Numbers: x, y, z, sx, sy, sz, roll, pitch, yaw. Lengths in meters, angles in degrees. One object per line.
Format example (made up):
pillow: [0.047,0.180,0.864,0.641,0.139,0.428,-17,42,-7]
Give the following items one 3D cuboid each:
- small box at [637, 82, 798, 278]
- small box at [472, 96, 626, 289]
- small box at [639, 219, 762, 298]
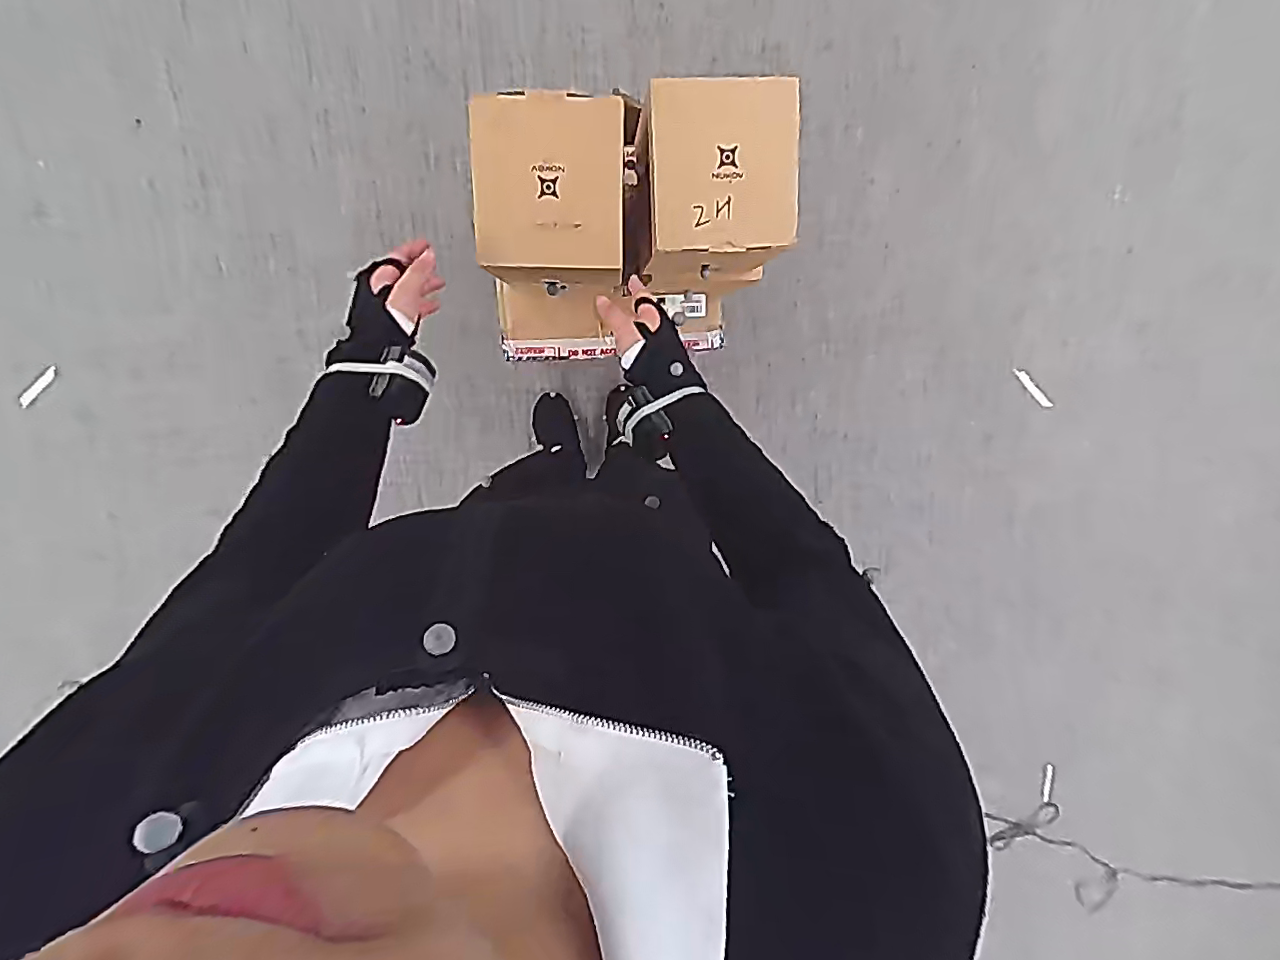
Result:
small box: [0.087,-0.360,0.678,0.168,0.176,0.179,-4,103,-5]
small box: [-0.101,-0.338,0.668,0.168,0.176,0.179,0,104,-2]
small box: [0.087,-0.385,0.842,0.168,0.176,0.179,-2,104,-6]
